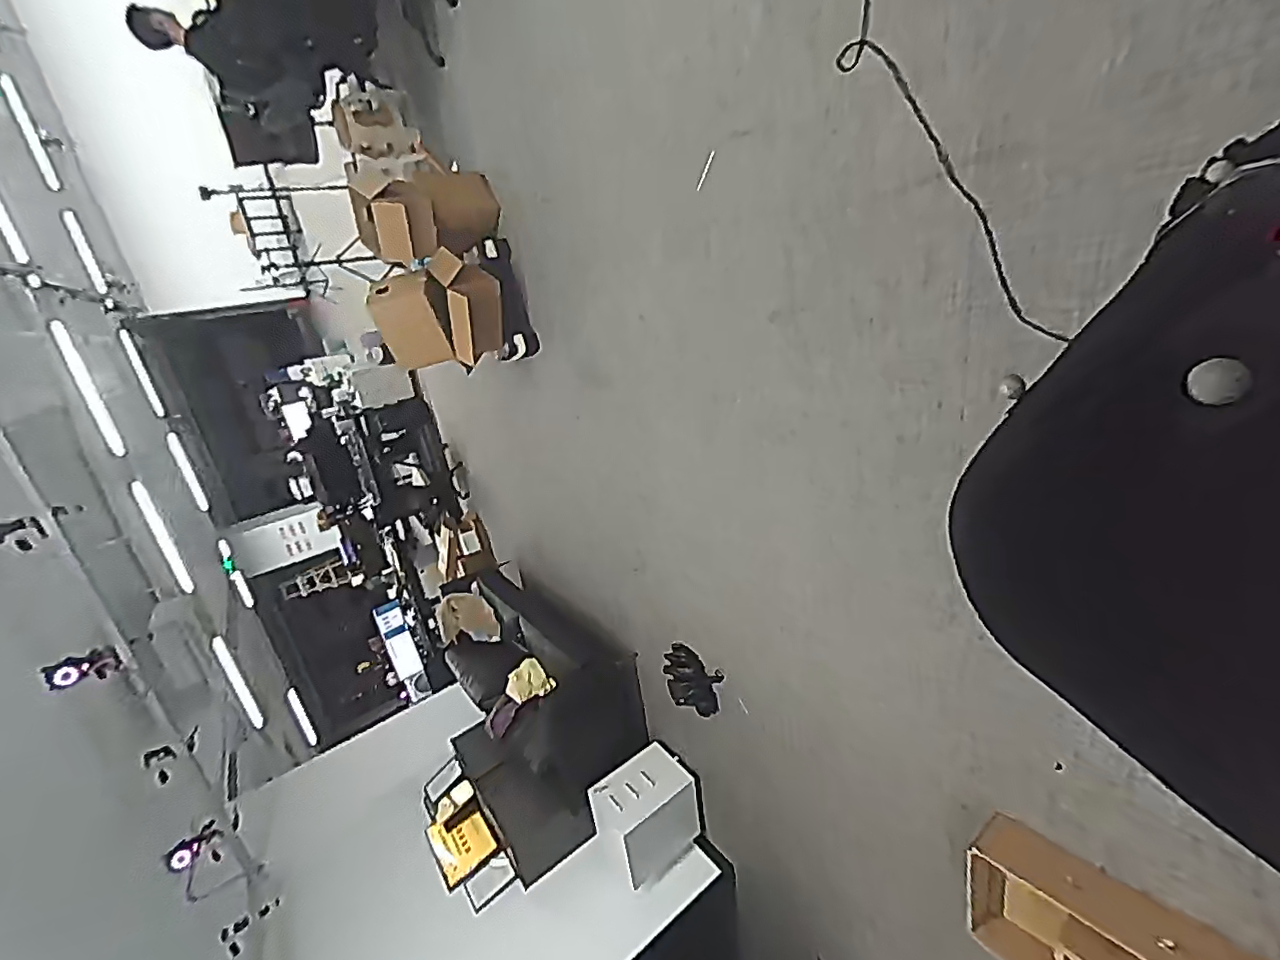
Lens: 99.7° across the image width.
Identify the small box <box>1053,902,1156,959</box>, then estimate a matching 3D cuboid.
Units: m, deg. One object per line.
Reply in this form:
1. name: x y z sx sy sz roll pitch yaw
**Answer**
1. small box: 1.265 1.311 1.477 0.179 0.176 0.168 13 121 51
